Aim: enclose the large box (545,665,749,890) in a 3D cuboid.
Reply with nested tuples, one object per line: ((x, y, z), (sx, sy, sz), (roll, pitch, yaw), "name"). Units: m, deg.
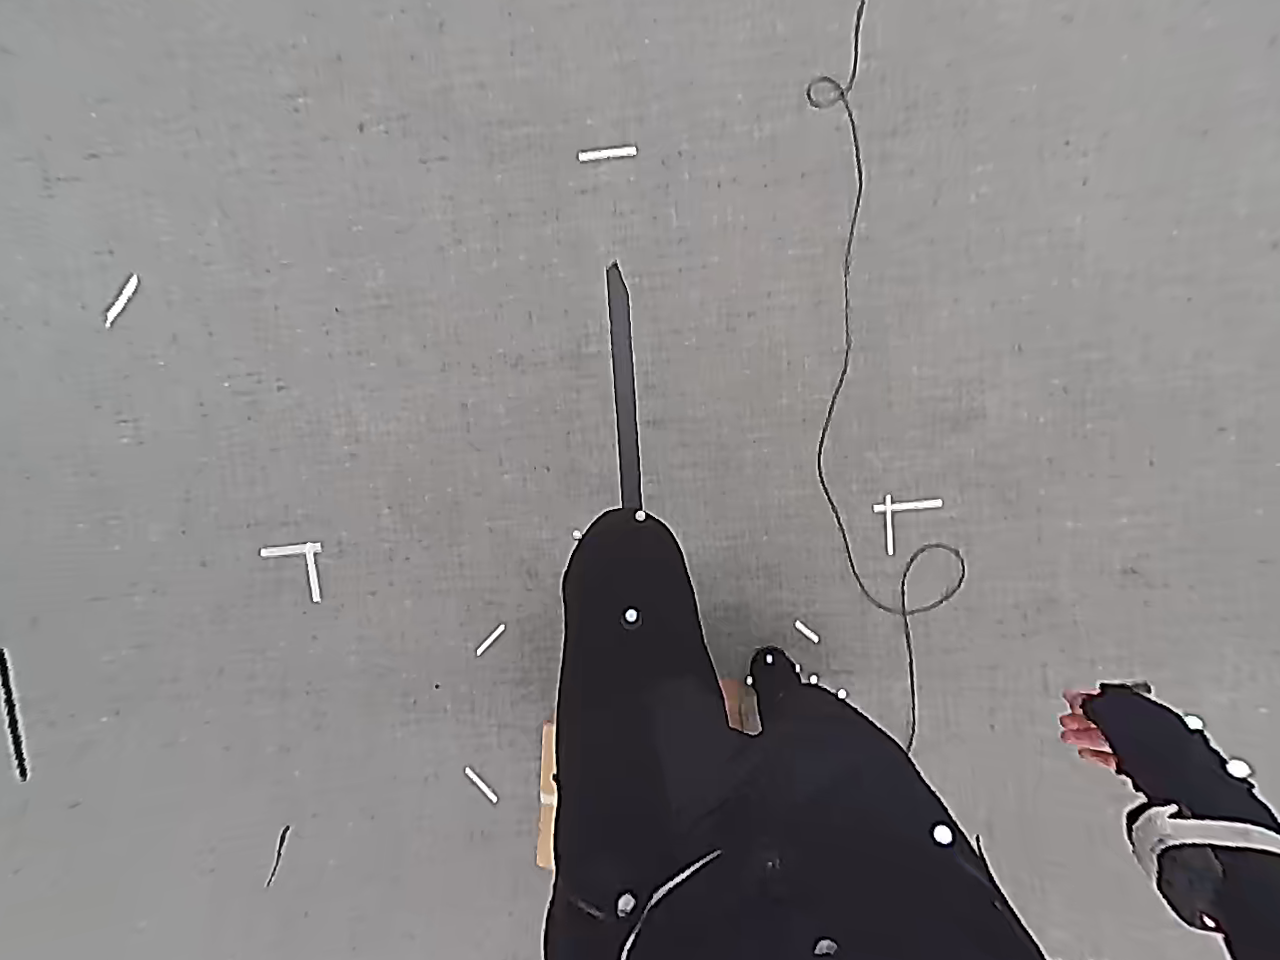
((0.020, 0.639, 1.222), (0.408, 0.320, 0.320), (4, 95, 6), "large box")
